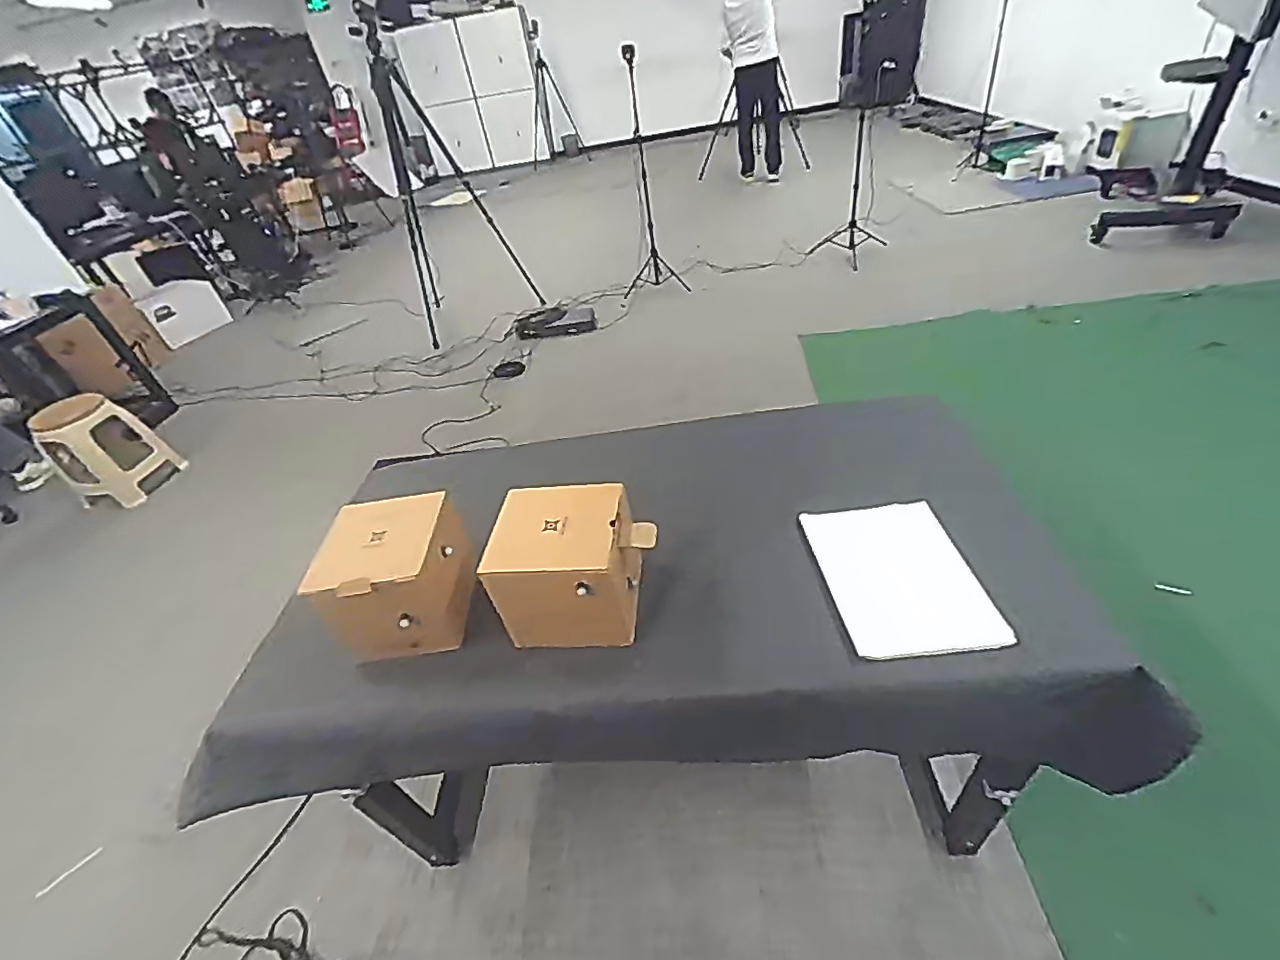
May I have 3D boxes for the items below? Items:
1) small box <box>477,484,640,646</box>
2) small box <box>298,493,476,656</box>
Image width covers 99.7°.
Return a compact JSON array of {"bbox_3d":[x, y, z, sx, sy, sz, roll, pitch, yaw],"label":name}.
[{"bbox_3d":[-0.104,0.125,0.781,0.179,0.176,0.168,-3,39,9],"label":"small box"},{"bbox_3d":[-0.361,0.147,0.814,0.168,0.176,0.179,-8,38,2],"label":"small box"}]
